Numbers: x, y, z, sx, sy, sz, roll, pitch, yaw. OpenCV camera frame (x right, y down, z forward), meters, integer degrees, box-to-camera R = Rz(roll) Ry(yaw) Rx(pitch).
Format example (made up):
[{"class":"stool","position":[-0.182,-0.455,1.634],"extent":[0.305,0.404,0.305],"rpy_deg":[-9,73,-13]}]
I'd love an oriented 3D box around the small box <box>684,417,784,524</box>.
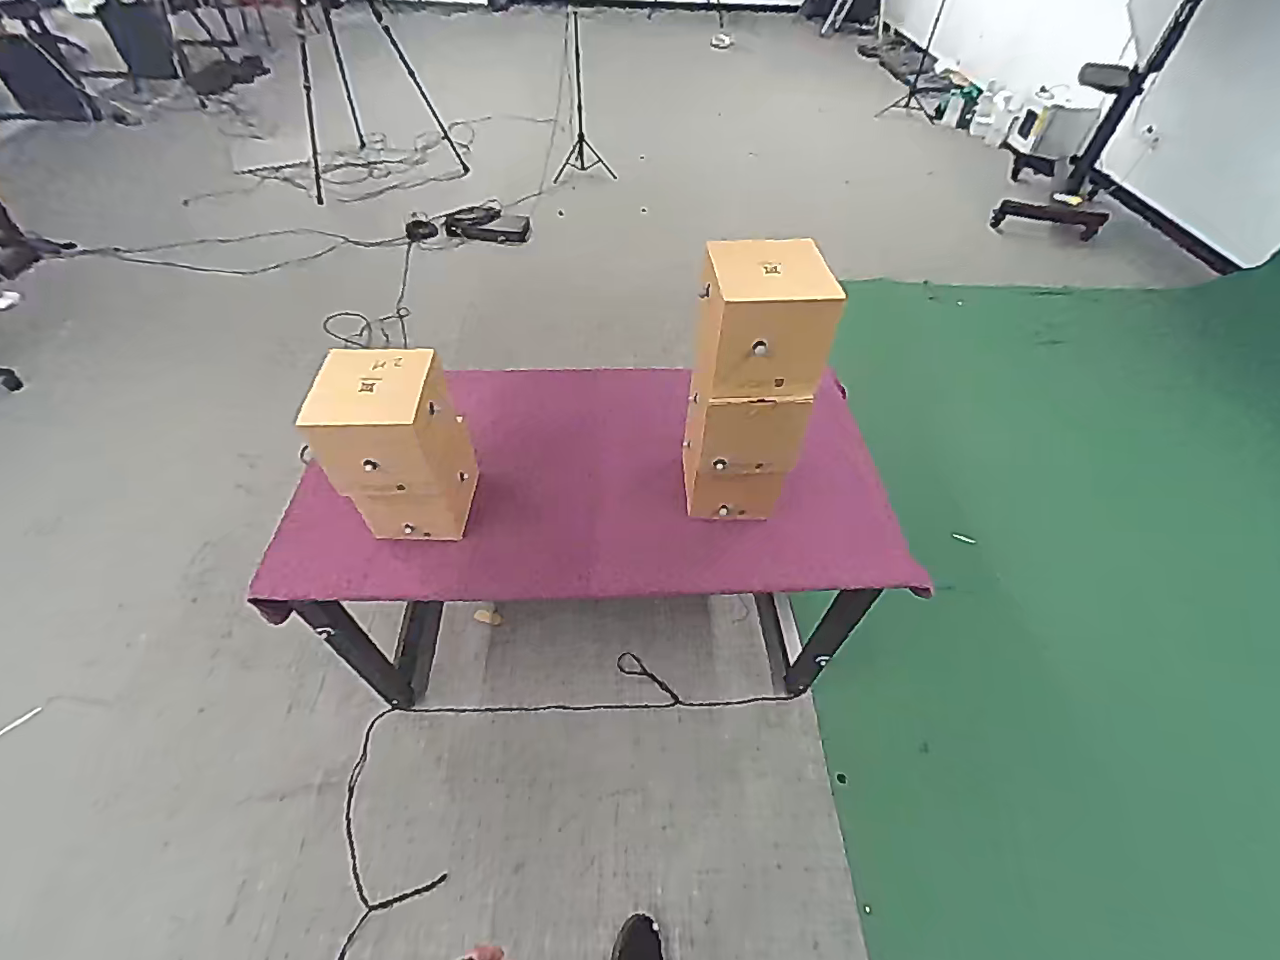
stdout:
[{"class":"small box","position":[0.178,-0.033,1.075],"extent":[0.168,0.176,0.179],"rpy_deg":[0,50,0]}]

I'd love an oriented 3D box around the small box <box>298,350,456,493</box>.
[{"class":"small box","position":[-0.412,-0.092,0.885],"extent":[0.168,0.176,0.179],"rpy_deg":[0,51,-3]}]

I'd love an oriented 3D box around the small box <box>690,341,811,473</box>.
[{"class":"small box","position":[0.180,-0.125,0.938],"extent":[0.168,0.176,0.179],"rpy_deg":[-1,48,-1]}]

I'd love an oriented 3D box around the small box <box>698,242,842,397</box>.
[{"class":"small box","position":[0.183,-0.238,0.821],"extent":[0.168,0.176,0.179],"rpy_deg":[-3,48,-2]}]
